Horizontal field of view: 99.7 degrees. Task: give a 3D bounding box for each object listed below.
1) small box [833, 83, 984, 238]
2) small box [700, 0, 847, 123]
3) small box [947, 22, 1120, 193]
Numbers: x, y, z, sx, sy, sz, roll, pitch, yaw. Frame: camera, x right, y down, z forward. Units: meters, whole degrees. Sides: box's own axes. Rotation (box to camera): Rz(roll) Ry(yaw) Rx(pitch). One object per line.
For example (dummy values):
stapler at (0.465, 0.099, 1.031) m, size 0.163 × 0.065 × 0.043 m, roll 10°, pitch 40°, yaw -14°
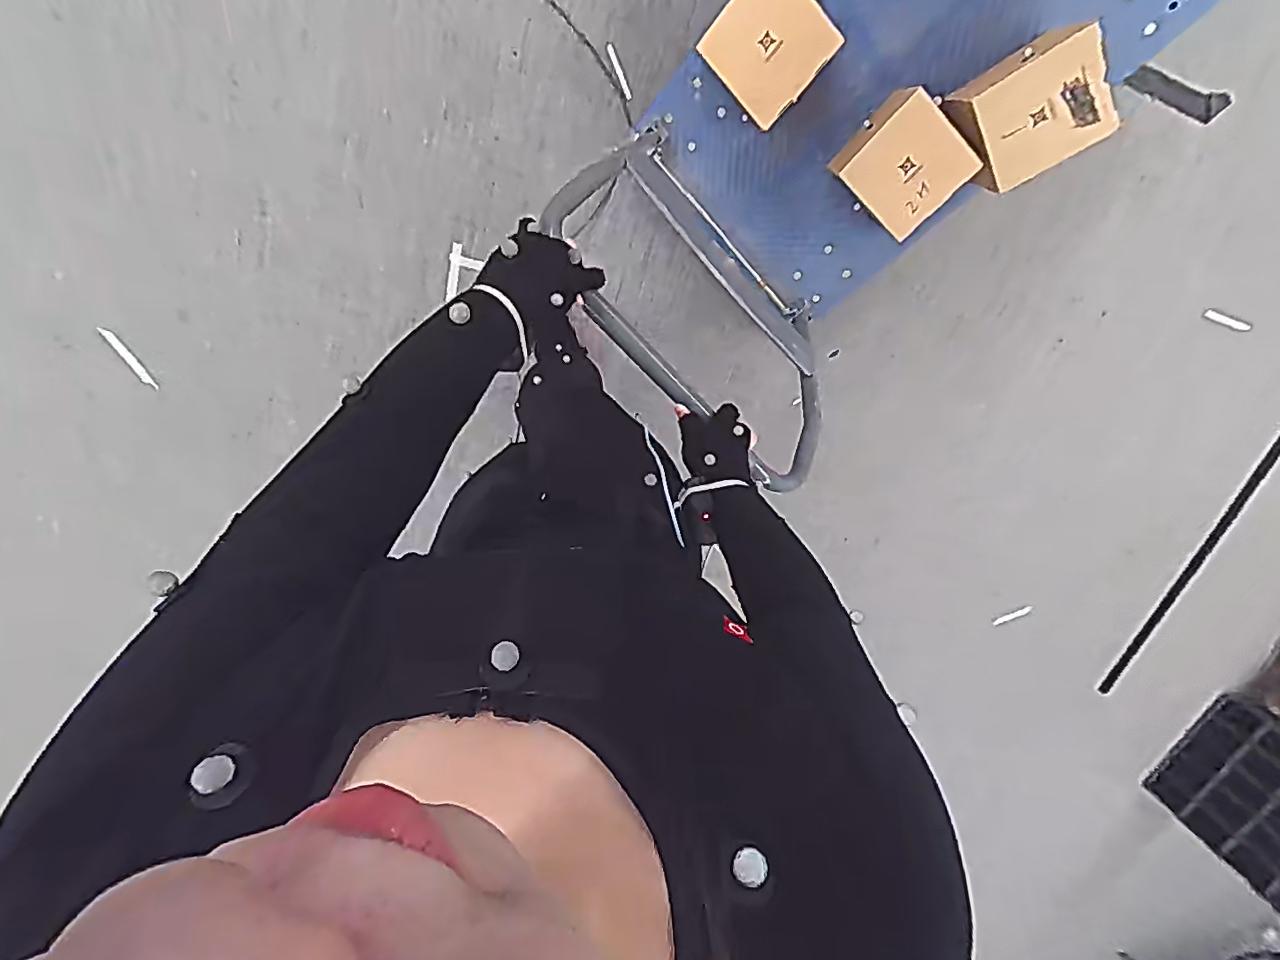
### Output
small box at (0.478, -0.582, 0.993) m, size 0.179 × 0.176 × 0.168 m, roll 39°, pitch 123°, yaw -15°
small box at (0.222, -0.751, 0.928) m, size 0.179 × 0.176 × 0.168 m, roll 40°, pitch 123°, yaw -18°
small box at (0.661, -0.629, 0.923) m, size 0.179 × 0.176 × 0.168 m, roll -24°, pitch 117°, yaw 26°
